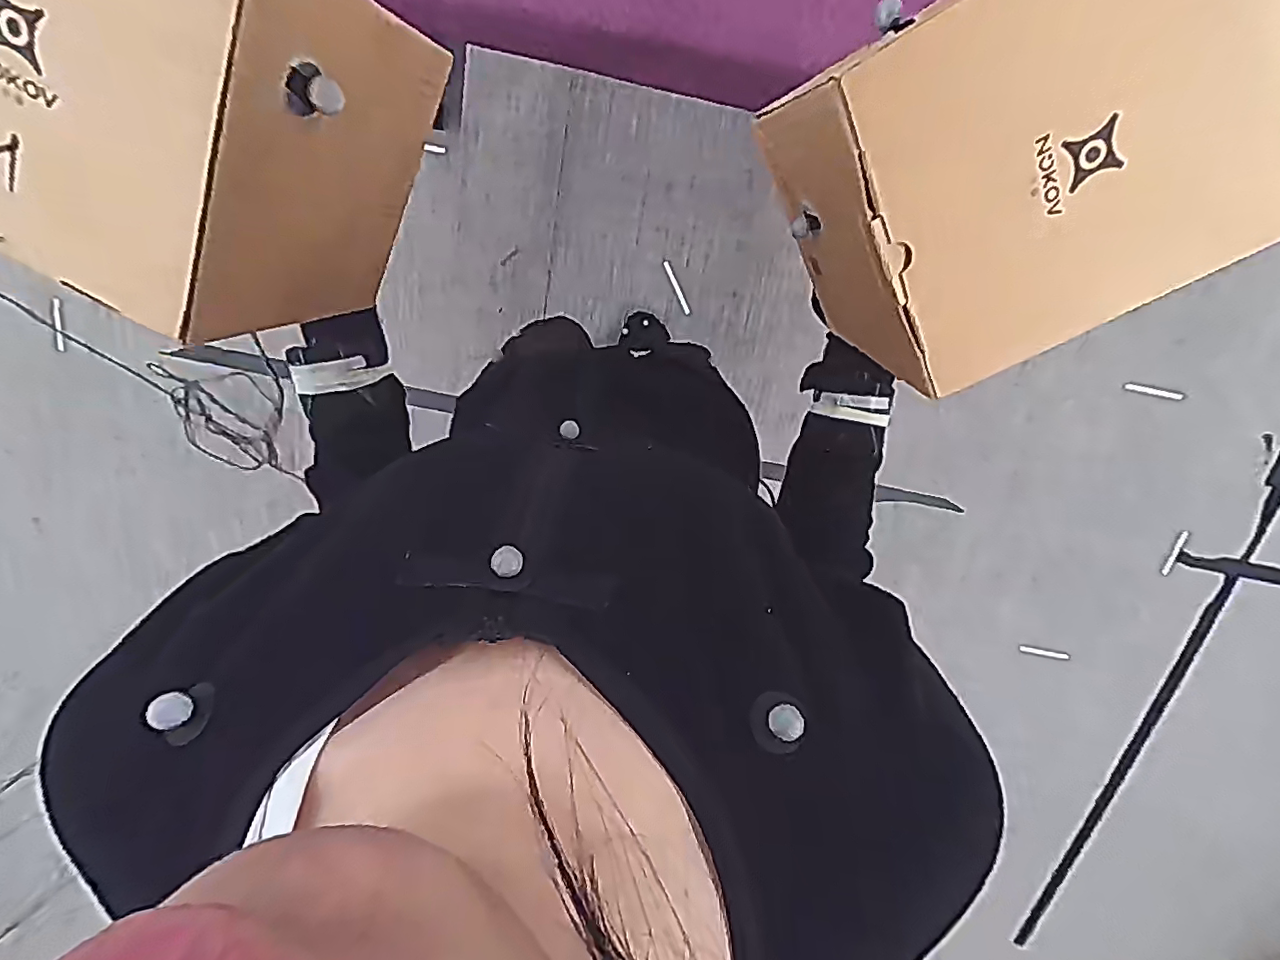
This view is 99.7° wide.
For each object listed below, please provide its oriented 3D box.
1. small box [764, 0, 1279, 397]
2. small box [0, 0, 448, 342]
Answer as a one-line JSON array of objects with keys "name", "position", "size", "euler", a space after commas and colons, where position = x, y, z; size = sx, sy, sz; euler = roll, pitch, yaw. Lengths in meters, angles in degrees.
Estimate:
[{"name": "small box", "position": [0.196, -0.182, 0.318], "size": [0.179, 0.176, 0.168], "euler": [-26, 116, 13]}, {"name": "small box", "position": [-0.229, -0.204, 0.289], "size": [0.168, 0.176, 0.179], "euler": [30, 114, -7]}]
